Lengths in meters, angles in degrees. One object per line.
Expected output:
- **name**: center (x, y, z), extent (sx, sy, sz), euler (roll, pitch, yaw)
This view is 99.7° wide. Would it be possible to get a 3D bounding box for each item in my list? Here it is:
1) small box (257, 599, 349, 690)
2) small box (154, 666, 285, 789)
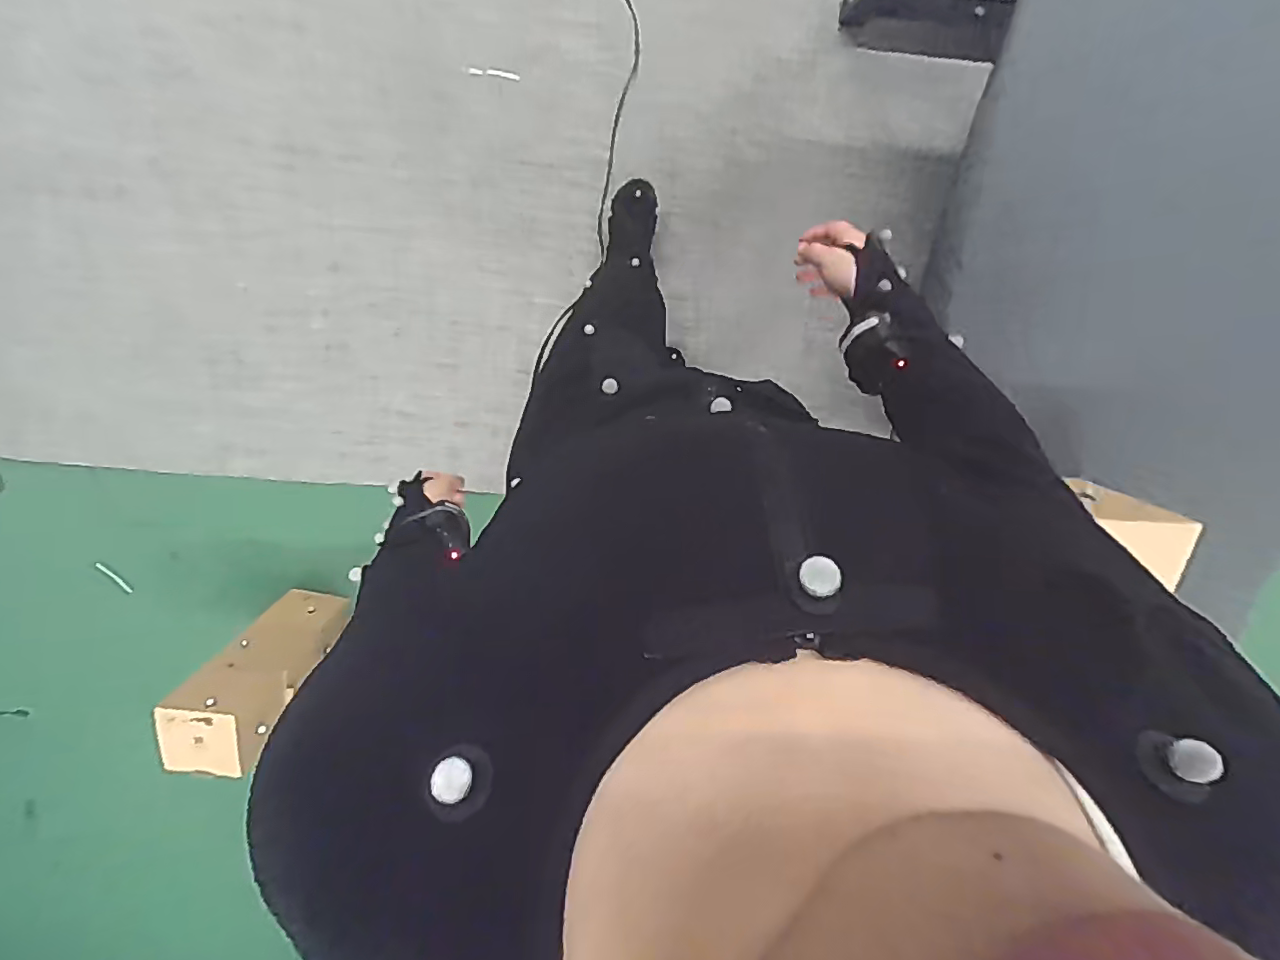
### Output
- **small box**: center (-0.949, 0.460, 1.533), extent (0.168, 0.176, 0.179), euler (12, 107, -5)
- **small box**: center (-0.932, 0.552, 1.217), extent (0.168, 0.176, 0.179), euler (8, 108, -3)
